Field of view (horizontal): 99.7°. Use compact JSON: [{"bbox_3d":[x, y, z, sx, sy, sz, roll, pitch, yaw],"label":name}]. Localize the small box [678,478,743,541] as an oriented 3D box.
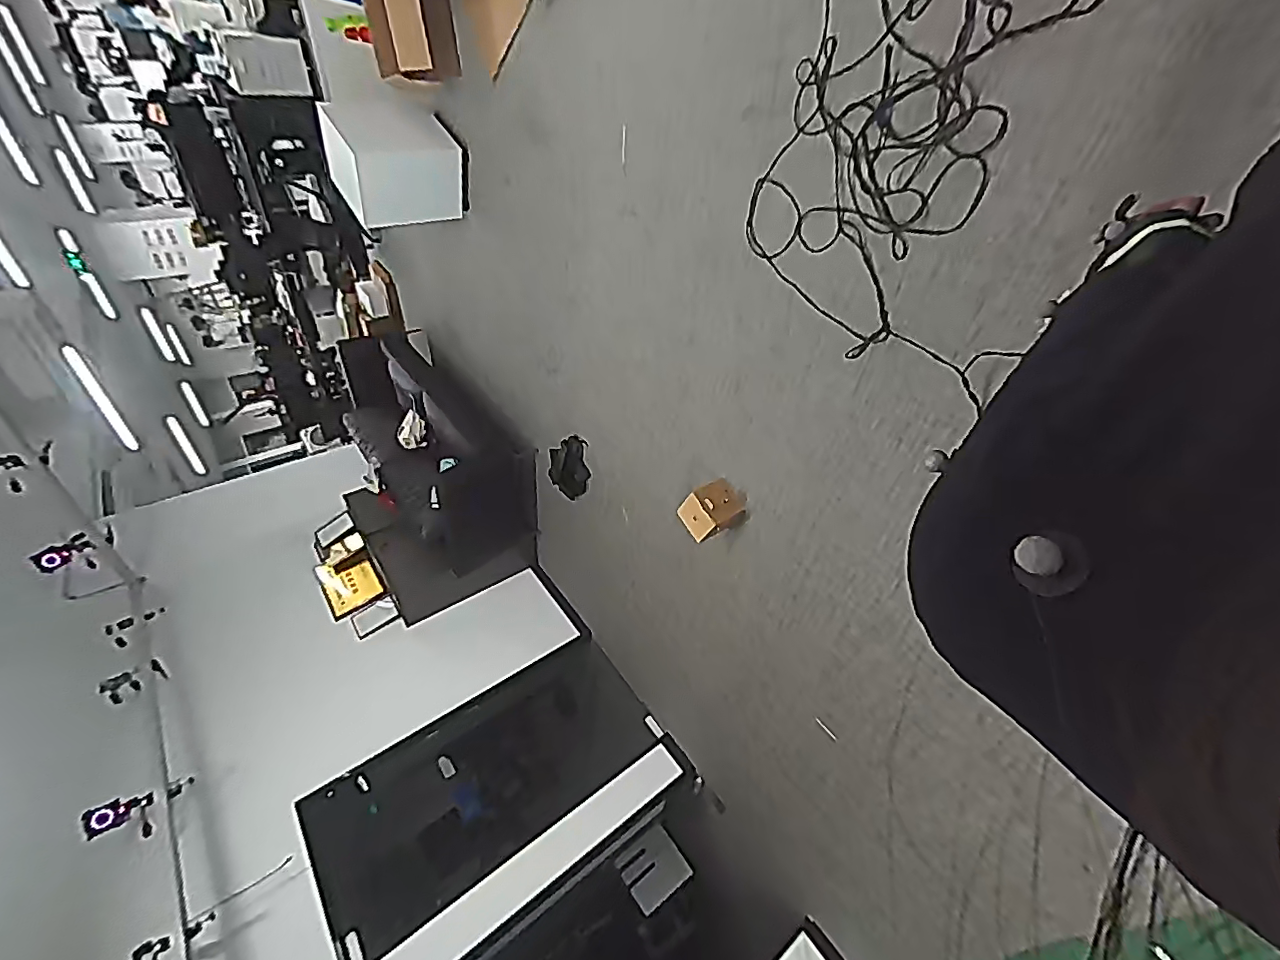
[{"bbox_3d":[0.290,0.120,2.202,0.168,0.176,0.179,56,148,17],"label":"small box"}]
